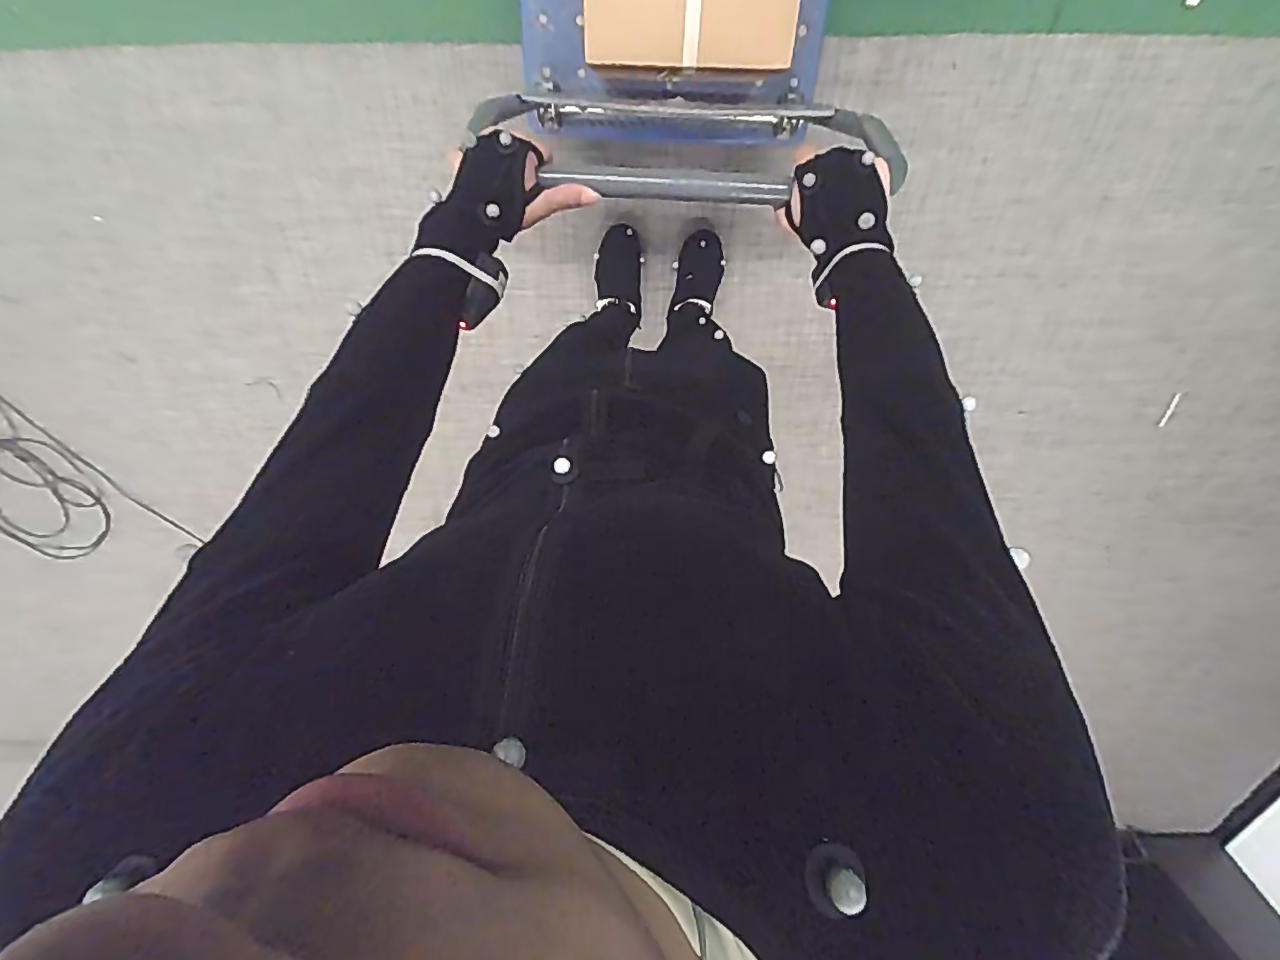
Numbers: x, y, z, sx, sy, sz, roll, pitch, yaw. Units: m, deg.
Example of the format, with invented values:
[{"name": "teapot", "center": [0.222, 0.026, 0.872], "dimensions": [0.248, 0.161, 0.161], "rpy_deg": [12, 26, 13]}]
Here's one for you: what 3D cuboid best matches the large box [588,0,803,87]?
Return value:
[{"name": "large box", "center": [0.087, -0.868, 0.840], "dimensions": [0.320, 0.320, 0.408], "rpy_deg": [2, 123, 0]}]
